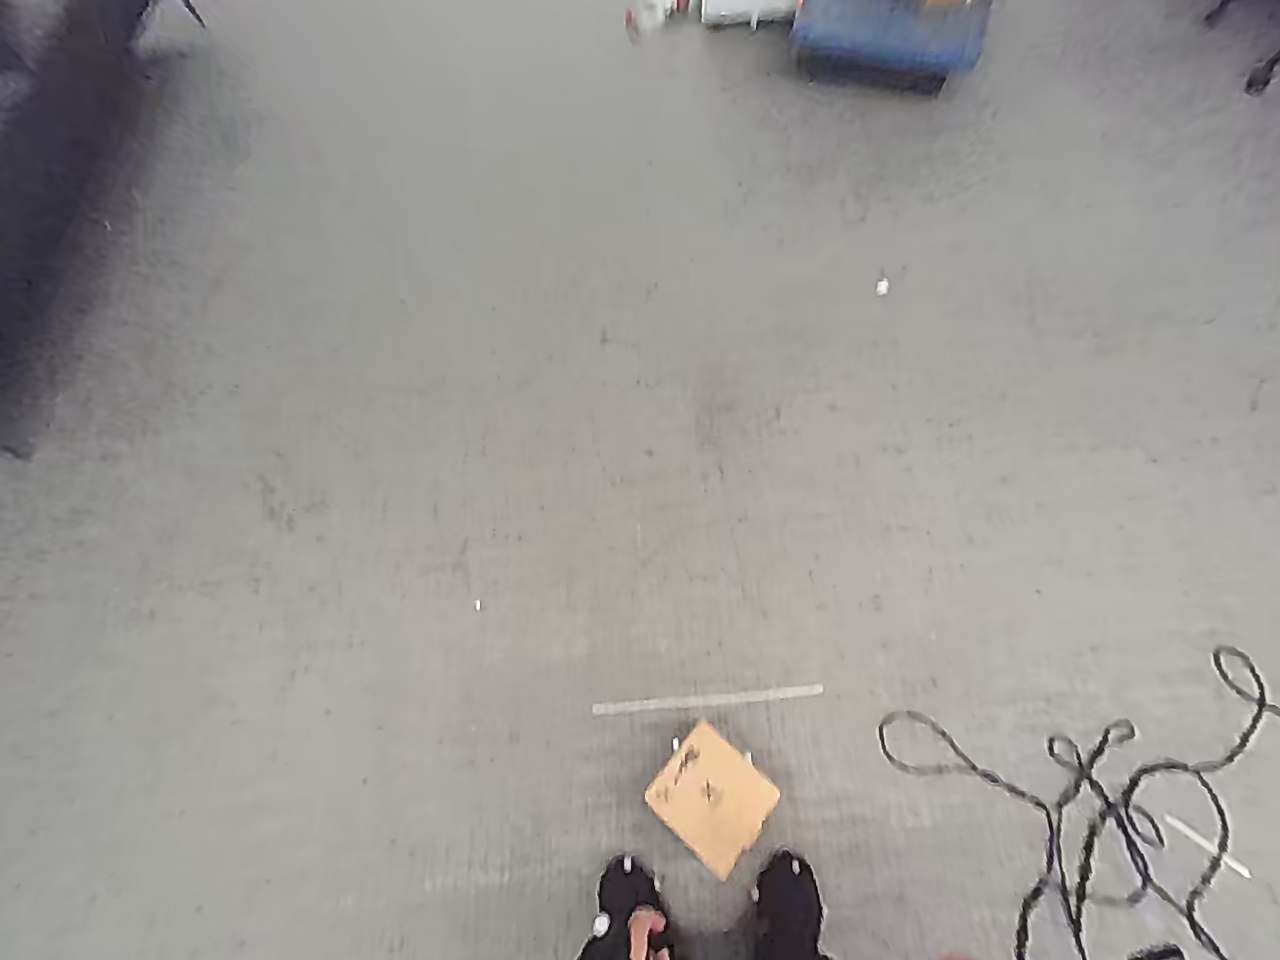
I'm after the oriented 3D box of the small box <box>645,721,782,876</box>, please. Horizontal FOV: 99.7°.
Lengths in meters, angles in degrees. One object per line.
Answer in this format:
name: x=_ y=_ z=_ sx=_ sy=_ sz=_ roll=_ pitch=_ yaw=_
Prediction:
small box: x=0.131 y=0.564 z=0.990 sx=0.179 sy=0.176 sz=0.168 roll=38 pitch=74 yaw=19
